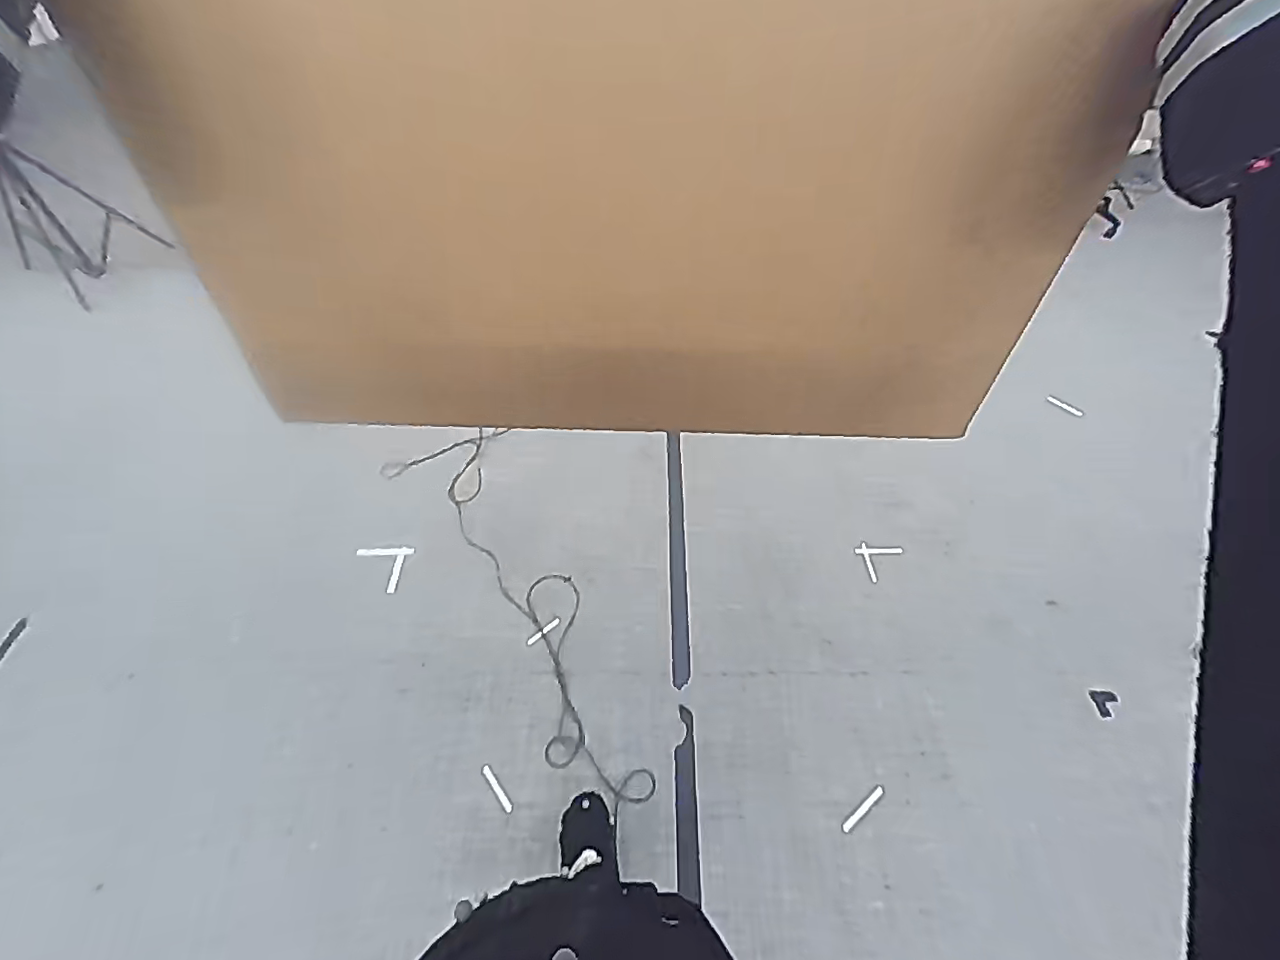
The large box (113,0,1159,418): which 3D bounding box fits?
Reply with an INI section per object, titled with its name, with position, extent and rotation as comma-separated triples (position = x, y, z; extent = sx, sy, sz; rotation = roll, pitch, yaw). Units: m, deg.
[large box]
position = -0.004, -0.250, 0.337
extent = 0.408, 0.320, 0.320
rotation = 2, 45, -2
